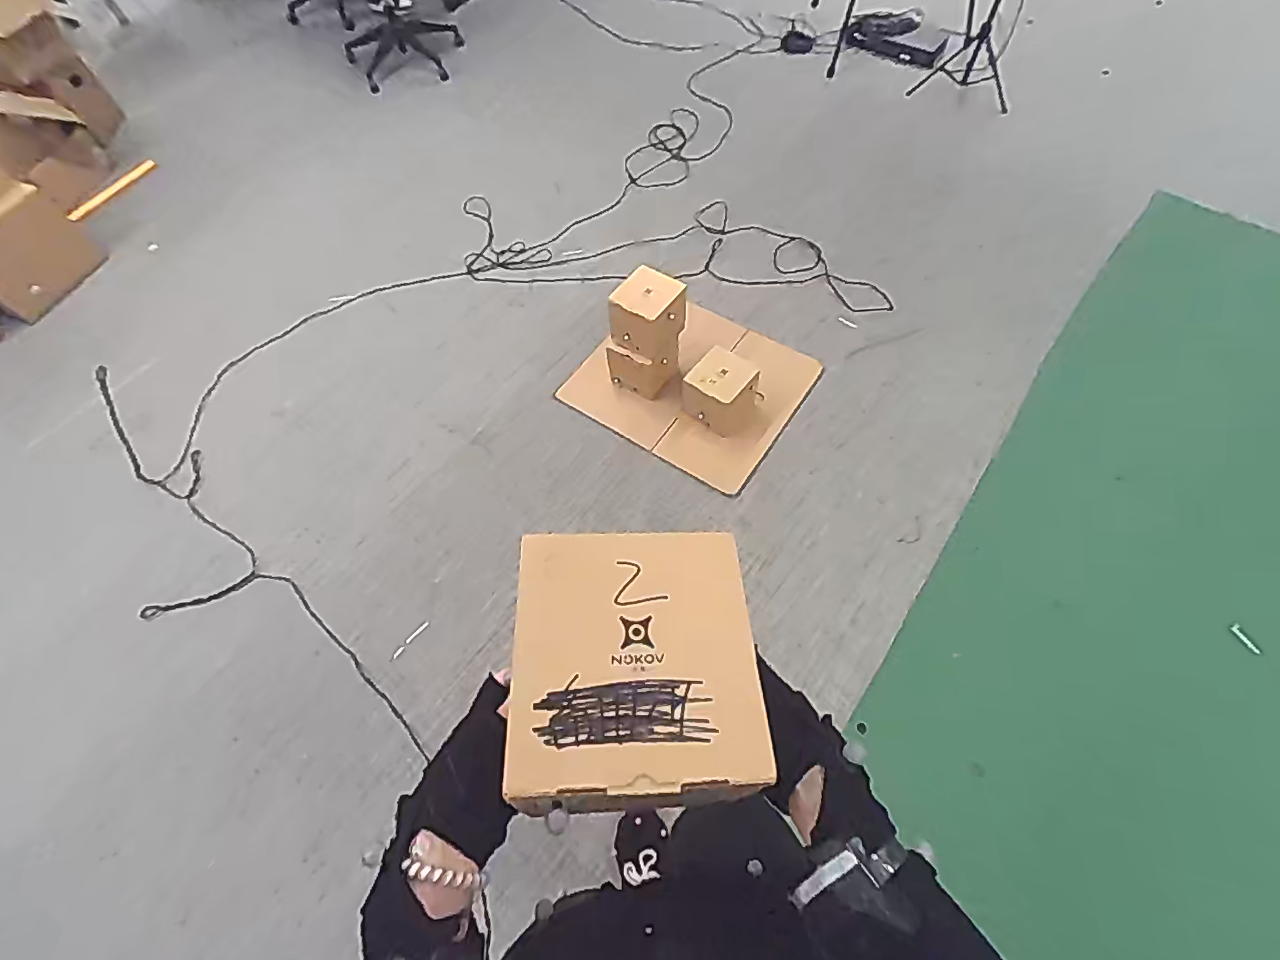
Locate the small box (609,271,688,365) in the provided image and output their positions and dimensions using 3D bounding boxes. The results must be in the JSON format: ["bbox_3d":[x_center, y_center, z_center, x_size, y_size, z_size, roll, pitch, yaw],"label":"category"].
[{"bbox_3d":[0.025,-0.485,1.629,0.168,0.176,0.179,31,66,18],"label":"small box"}]

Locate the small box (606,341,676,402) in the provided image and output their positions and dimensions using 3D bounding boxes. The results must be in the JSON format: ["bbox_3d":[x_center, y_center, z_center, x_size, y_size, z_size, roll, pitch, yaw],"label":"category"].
[{"bbox_3d":[0.012,-0.386,1.761,0.168,0.176,0.179,29,65,18],"label":"small box"}]

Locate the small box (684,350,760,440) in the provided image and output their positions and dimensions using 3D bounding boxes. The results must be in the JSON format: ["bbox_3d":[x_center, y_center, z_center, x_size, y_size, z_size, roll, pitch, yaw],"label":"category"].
[{"bbox_3d":[0.248,-0.261,1.681,0.168,0.176,0.179,35,68,21],"label":"small box"}]
